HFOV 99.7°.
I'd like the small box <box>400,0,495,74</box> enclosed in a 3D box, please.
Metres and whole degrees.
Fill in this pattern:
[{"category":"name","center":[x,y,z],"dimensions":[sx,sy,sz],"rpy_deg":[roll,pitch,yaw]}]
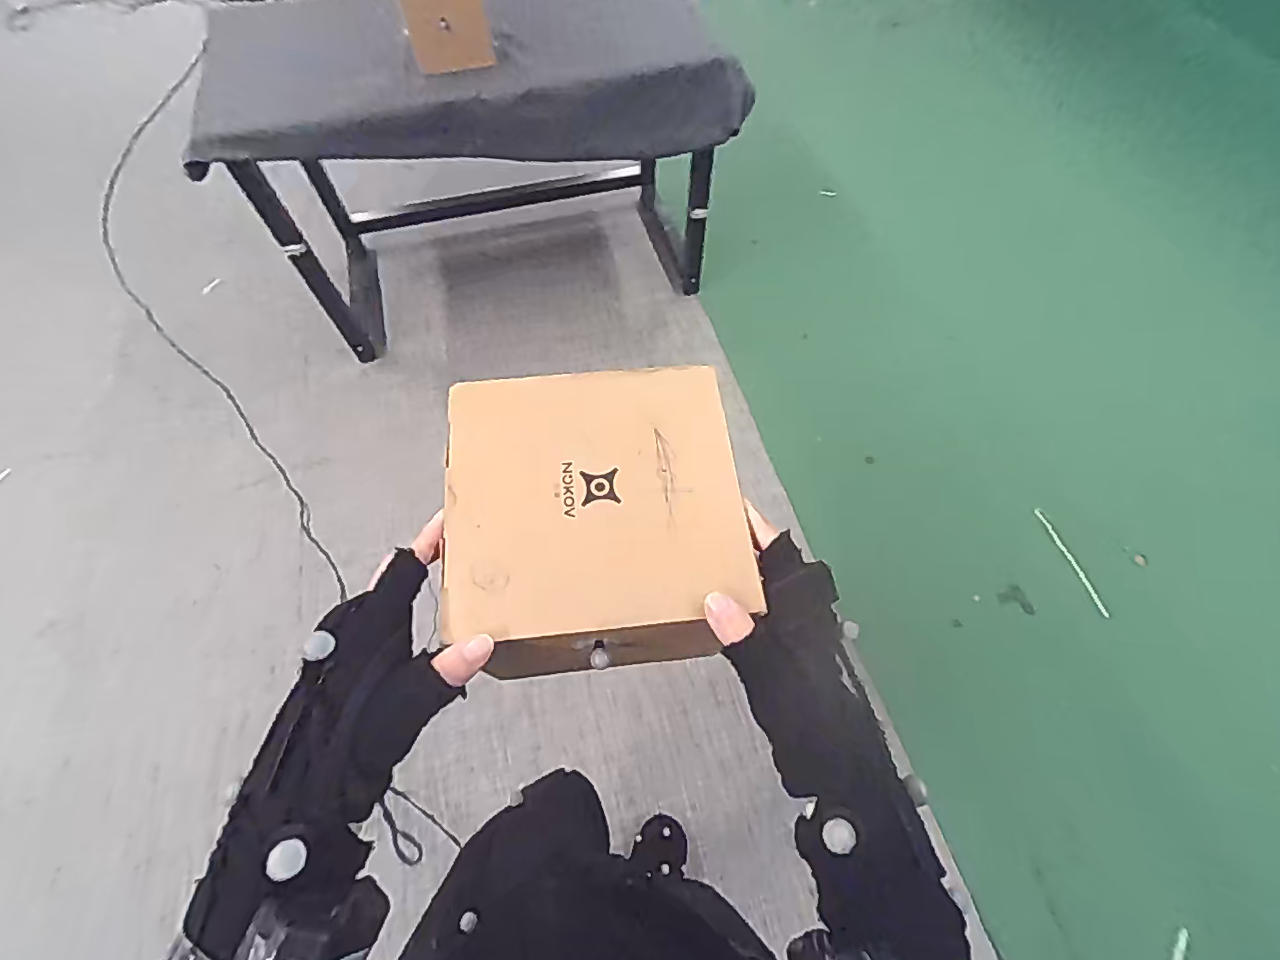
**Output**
[{"category":"small box","center":[-0.433,-1.054,1.217],"dimensions":[0.179,0.176,0.168],"rpy_deg":[-12,62,-6]}]
